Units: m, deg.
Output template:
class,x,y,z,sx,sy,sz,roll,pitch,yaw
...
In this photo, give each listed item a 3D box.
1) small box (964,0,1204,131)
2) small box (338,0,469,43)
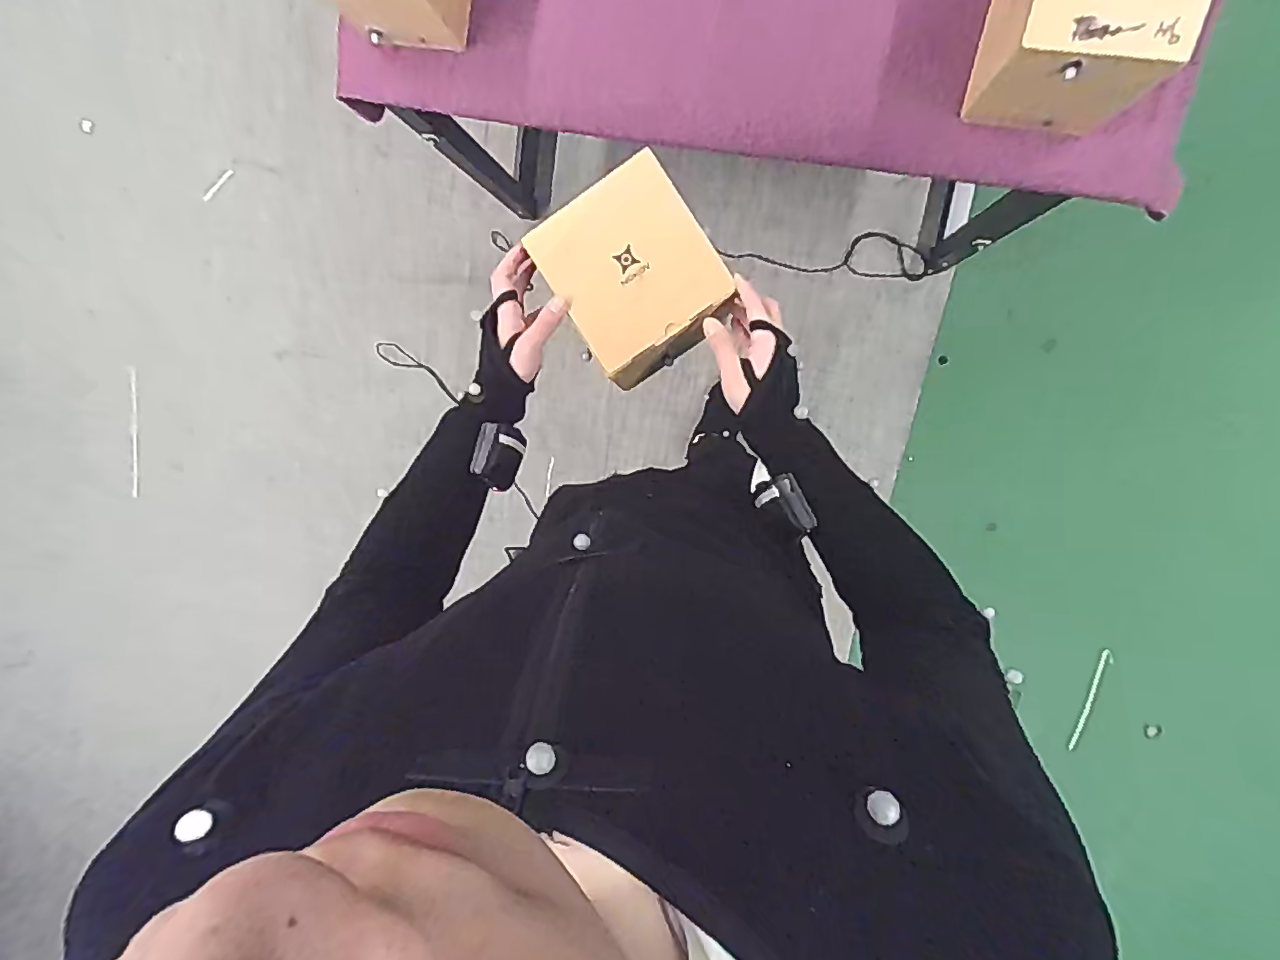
class,x,y,z,sx,sy,sz,roll,pitch,yaw
small box,0.507,-0.544,0.624,0.168,0.176,0.179,13,102,9
small box,-0.345,-0.751,0.746,0.168,0.176,0.179,11,100,8
